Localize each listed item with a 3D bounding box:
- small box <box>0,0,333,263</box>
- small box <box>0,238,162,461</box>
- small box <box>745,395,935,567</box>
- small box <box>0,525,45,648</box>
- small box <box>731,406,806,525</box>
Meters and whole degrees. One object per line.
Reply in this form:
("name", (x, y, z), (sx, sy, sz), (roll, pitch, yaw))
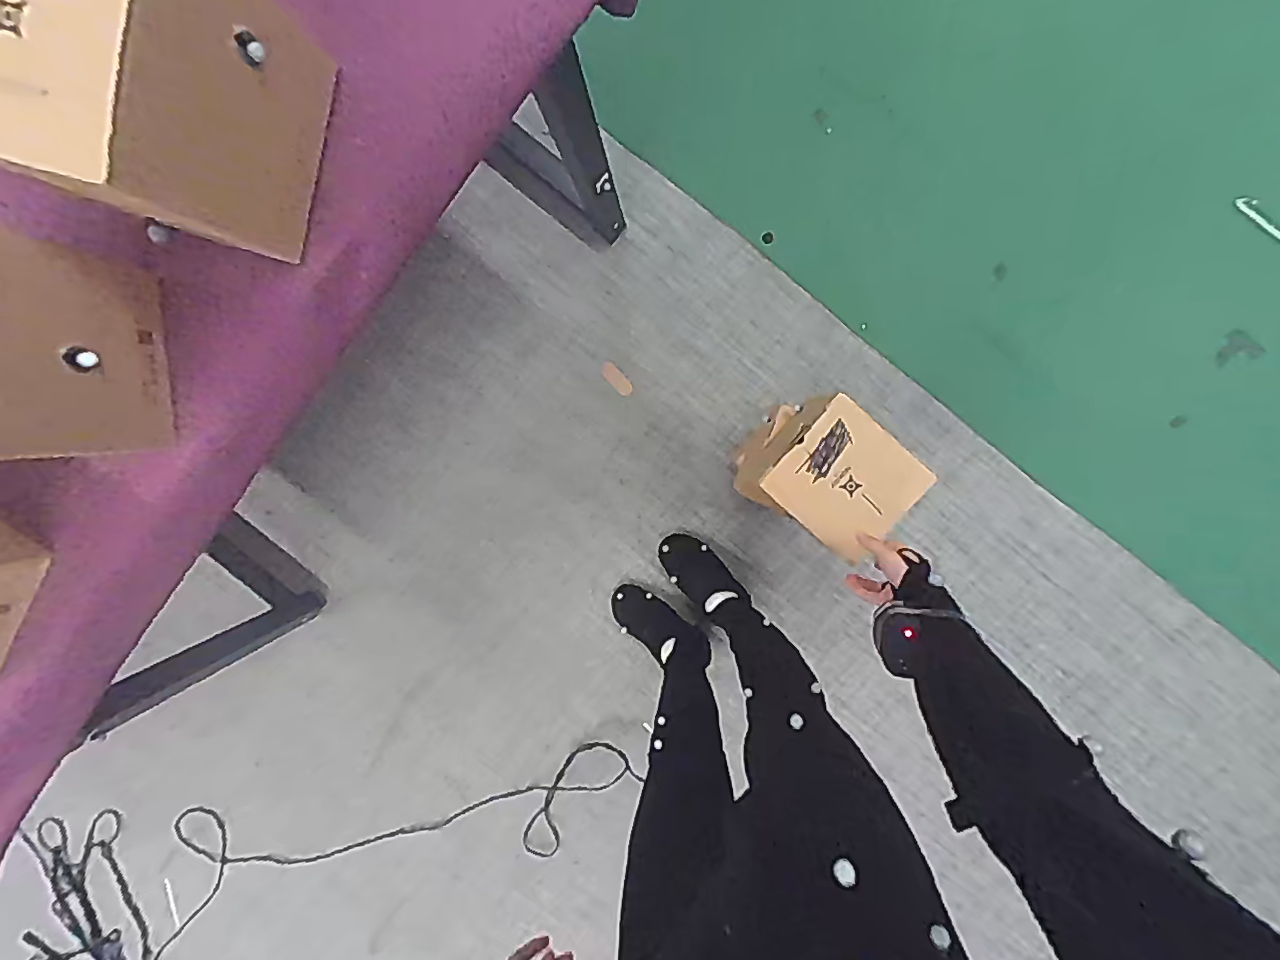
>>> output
("small box", (-0.370, -0.292, 0.408), (0.168, 0.176, 0.179), (17, 97, 4))
("small box", (-0.538, -0.101, 0.439), (0.179, 0.176, 0.168), (0, 95, 4))
("small box", (0.277, -0.004, 0.798), (0.179, 0.176, 0.168), (42, 96, -3))
("small box", (-0.707, 0.105, 0.474), (0.179, 0.176, 0.168), (33, 97, 2))
("small box", (0.304, -0.034, 1.125), (0.179, 0.176, 0.168), (-40, 93, 7))
